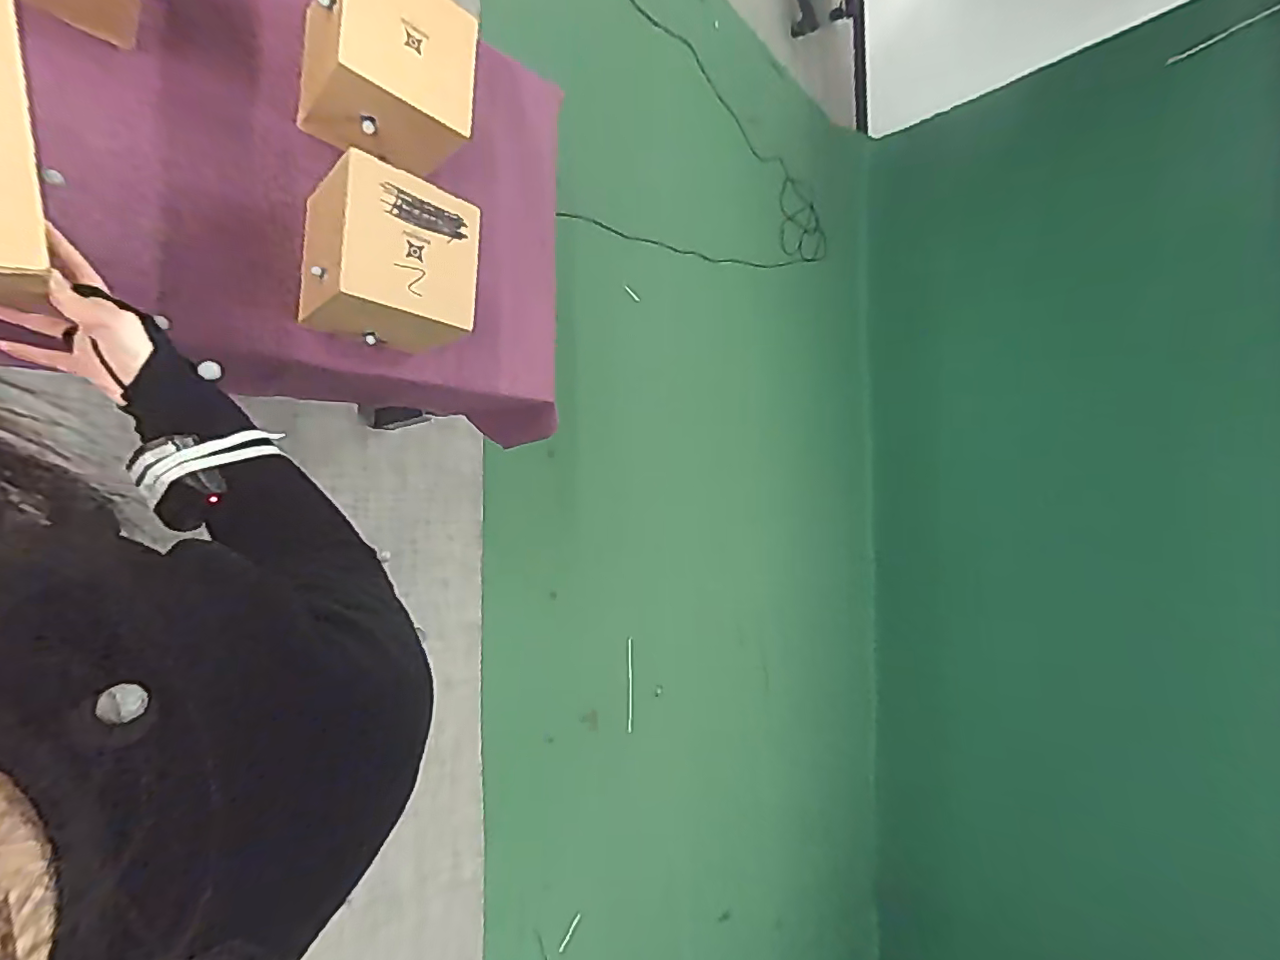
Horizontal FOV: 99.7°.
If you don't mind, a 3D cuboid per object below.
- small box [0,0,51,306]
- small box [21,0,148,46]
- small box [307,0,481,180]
[{"bbox_3d":[-0.496,-0.215,0.335,0.168,0.176,0.179,-8,99,-48],"label":"small box"},{"bbox_3d":[-0.566,-0.565,0.500,0.179,0.176,0.168,7,84,-46],"label":"small box"},{"bbox_3d":[-0.335,-0.549,0.733,0.168,0.176,0.179,6,84,-45],"label":"small box"}]
